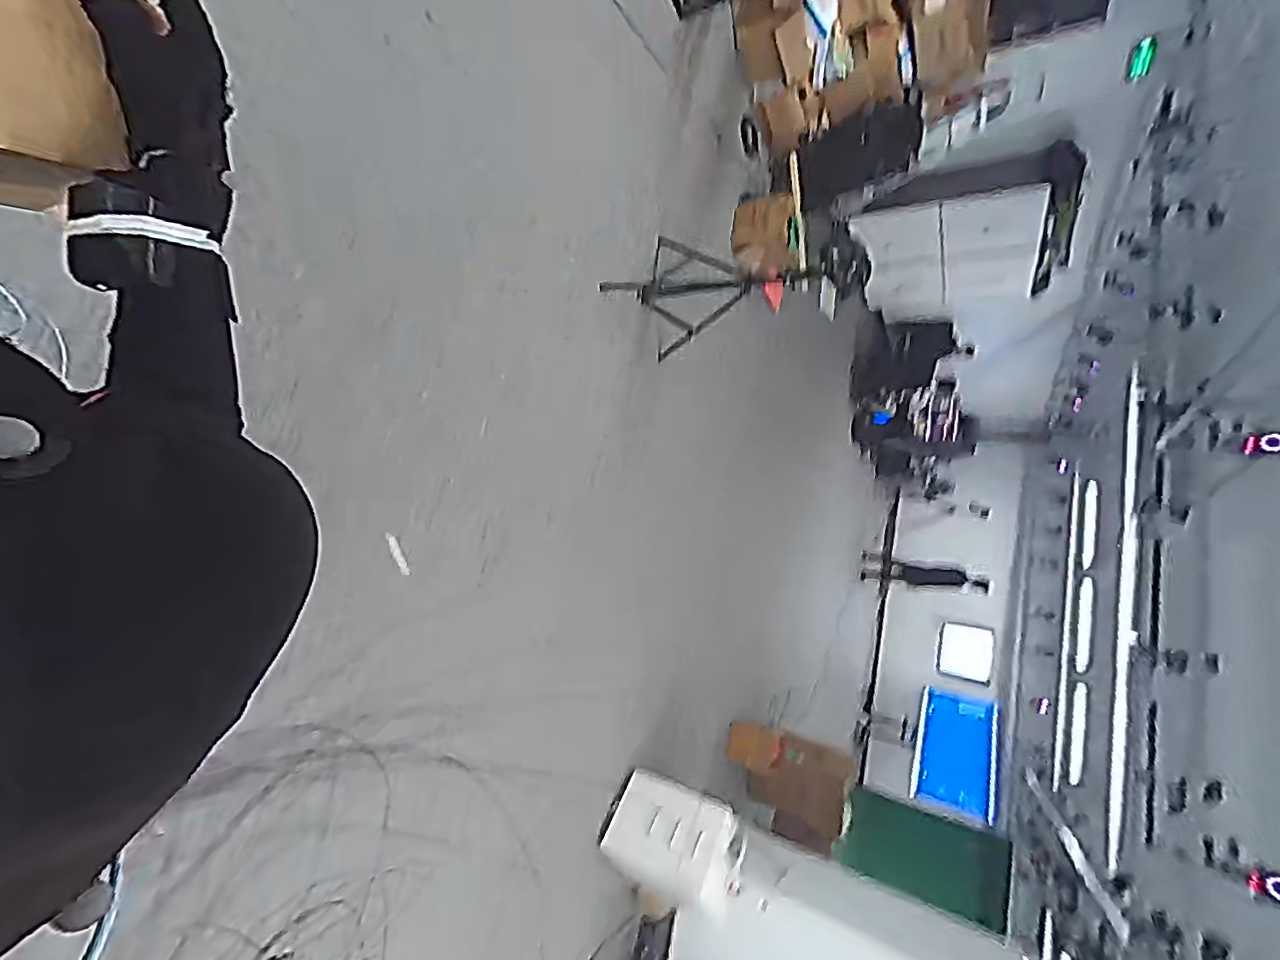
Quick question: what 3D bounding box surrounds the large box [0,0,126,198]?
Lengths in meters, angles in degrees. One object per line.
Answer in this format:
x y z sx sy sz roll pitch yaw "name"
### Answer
-0.601 -0.380 0.283 0.408 0.320 0.320 -12 113 -56 "large box"
